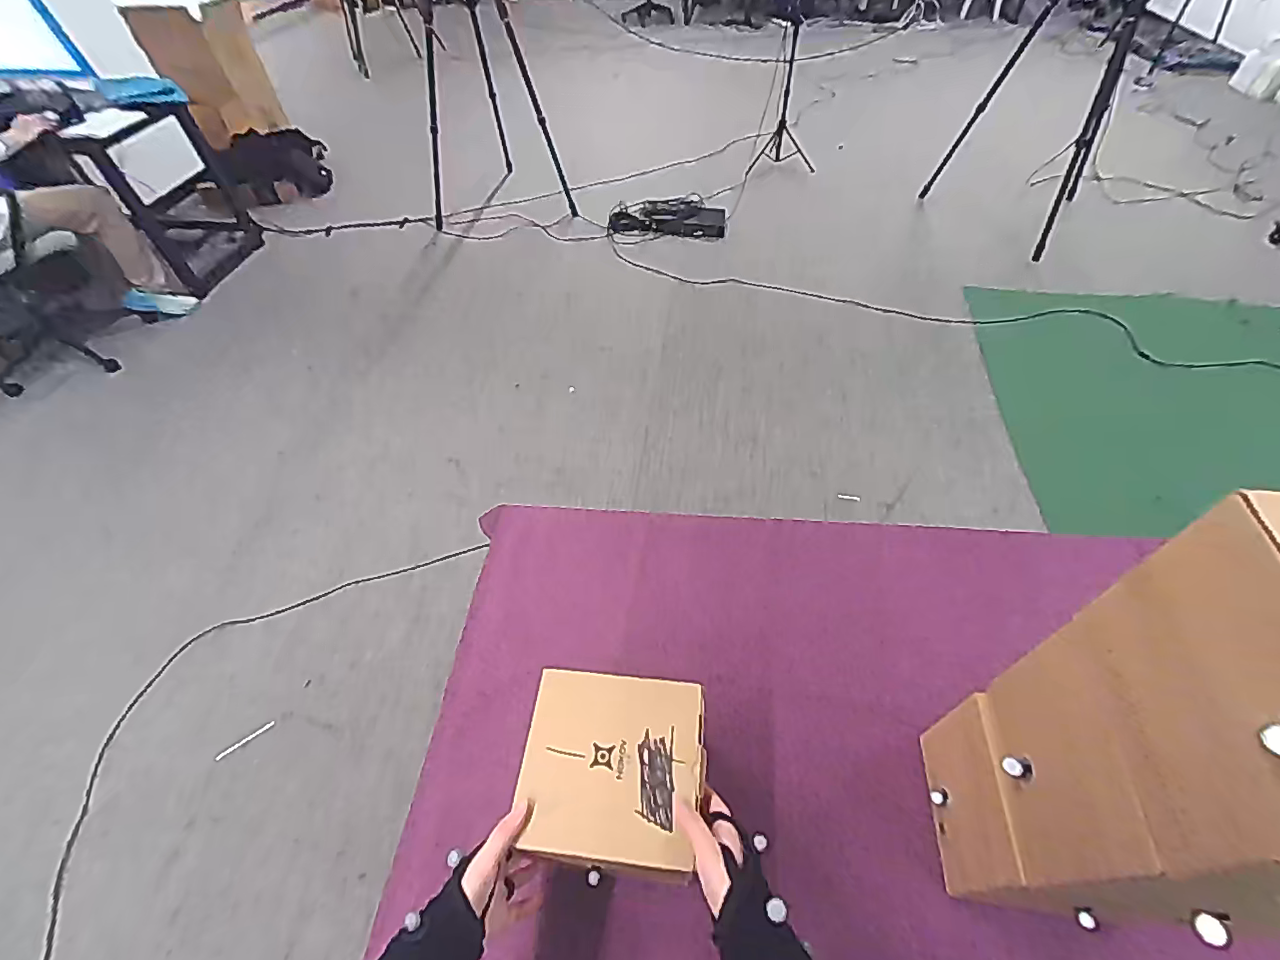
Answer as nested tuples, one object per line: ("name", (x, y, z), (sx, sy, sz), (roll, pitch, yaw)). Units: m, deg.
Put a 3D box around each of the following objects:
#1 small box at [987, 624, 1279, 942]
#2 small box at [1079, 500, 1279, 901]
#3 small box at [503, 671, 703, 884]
("small box", (0.413, 0.243, 0.433), (0.168, 0.176, 0.179), (8, 51, 9))
("small box", (0.406, 0.137, 0.306), (0.168, 0.176, 0.179), (7, 50, 8))
("small box", (-0.027, 0.328, 0.592), (0.179, 0.176, 0.168), (4, 50, 6))
